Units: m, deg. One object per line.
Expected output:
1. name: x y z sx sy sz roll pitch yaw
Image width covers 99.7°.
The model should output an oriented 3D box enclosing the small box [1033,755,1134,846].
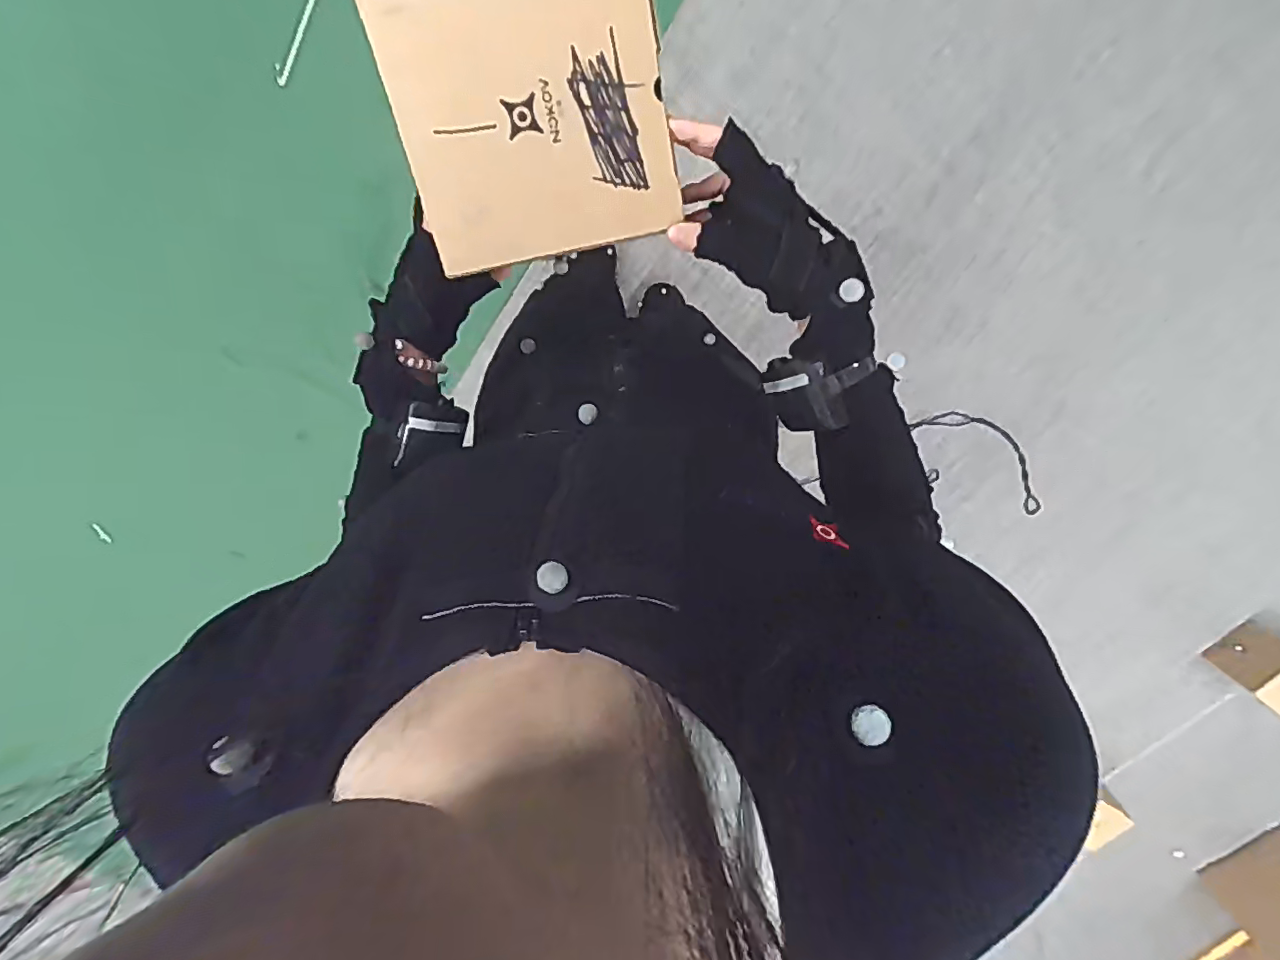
1. small box: 1.482 1.079 1.827 0.168 0.176 0.179 33 110 -10

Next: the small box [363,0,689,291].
1. small box: -0.073 -0.252 0.418 0.179 0.176 0.168 -12 113 -1

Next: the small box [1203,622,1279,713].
1. small box: 1.853 0.553 1.592 0.179 0.176 0.168 33 110 -10
